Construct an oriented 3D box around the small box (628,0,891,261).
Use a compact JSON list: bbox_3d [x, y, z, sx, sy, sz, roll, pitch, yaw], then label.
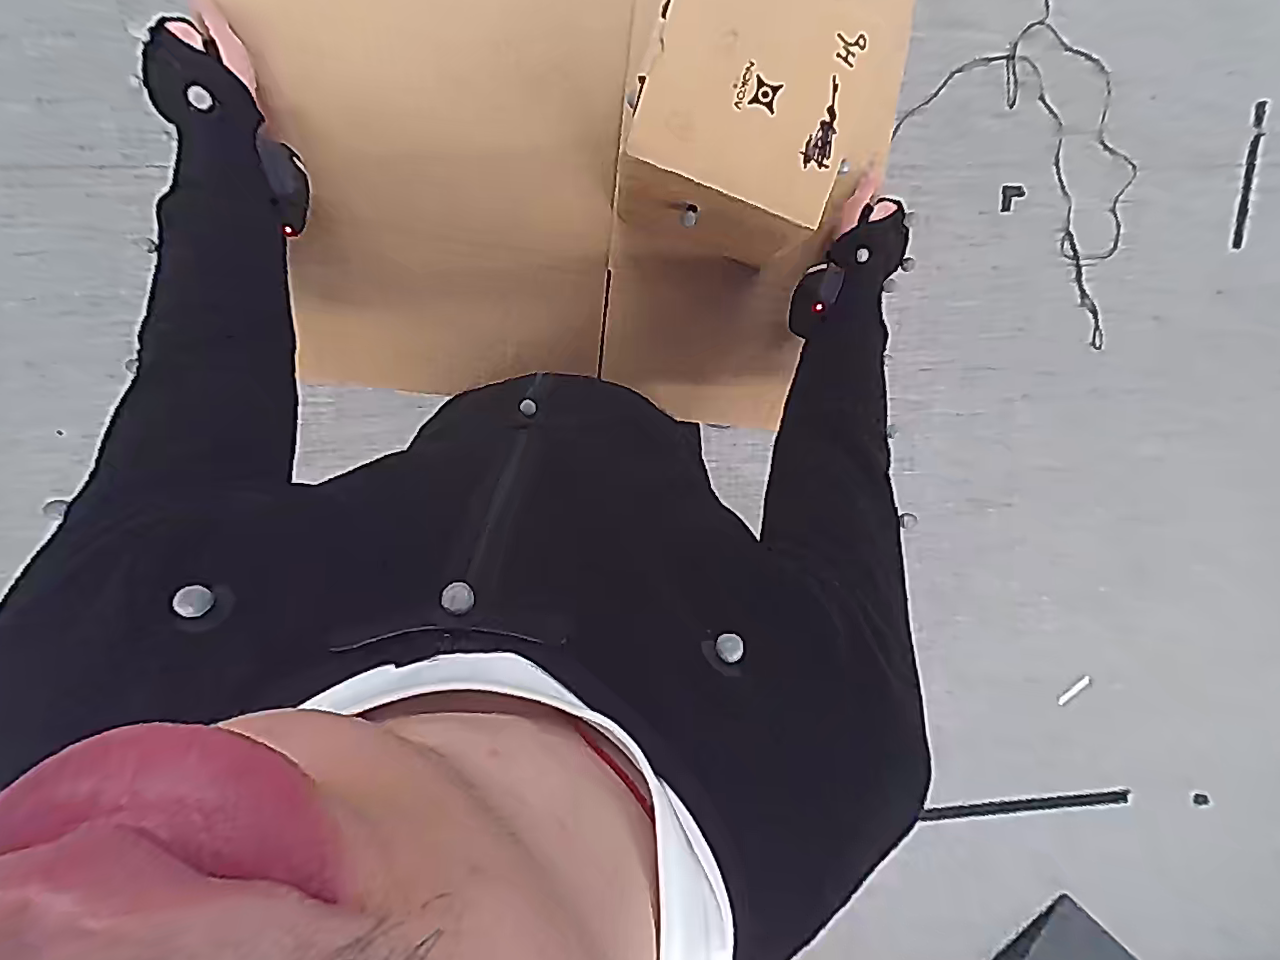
[{"bbox_3d":[0.094,-0.332,0.520,0.179,0.176,0.168,18,99,-6],"label":"small box"}]
